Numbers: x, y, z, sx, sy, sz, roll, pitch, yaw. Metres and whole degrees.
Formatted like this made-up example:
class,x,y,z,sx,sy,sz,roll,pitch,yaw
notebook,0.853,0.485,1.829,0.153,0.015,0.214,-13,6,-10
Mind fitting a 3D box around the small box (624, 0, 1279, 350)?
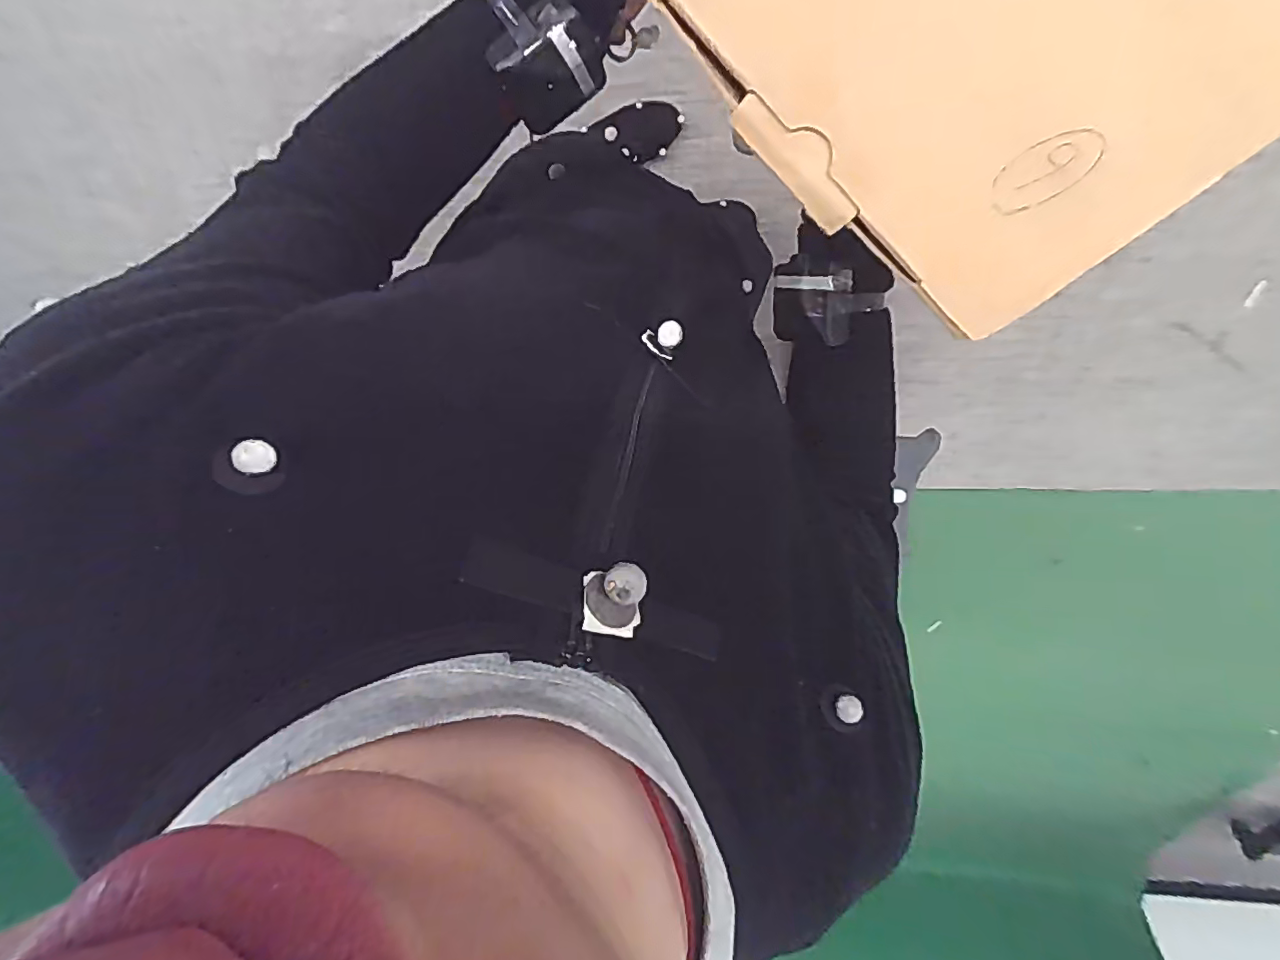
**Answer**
class,x,y,z,sx,sy,sz,roll,pitch,yaw
small box,0.106,-0.181,0.156,0.168,0.176,0.179,34,128,-21
